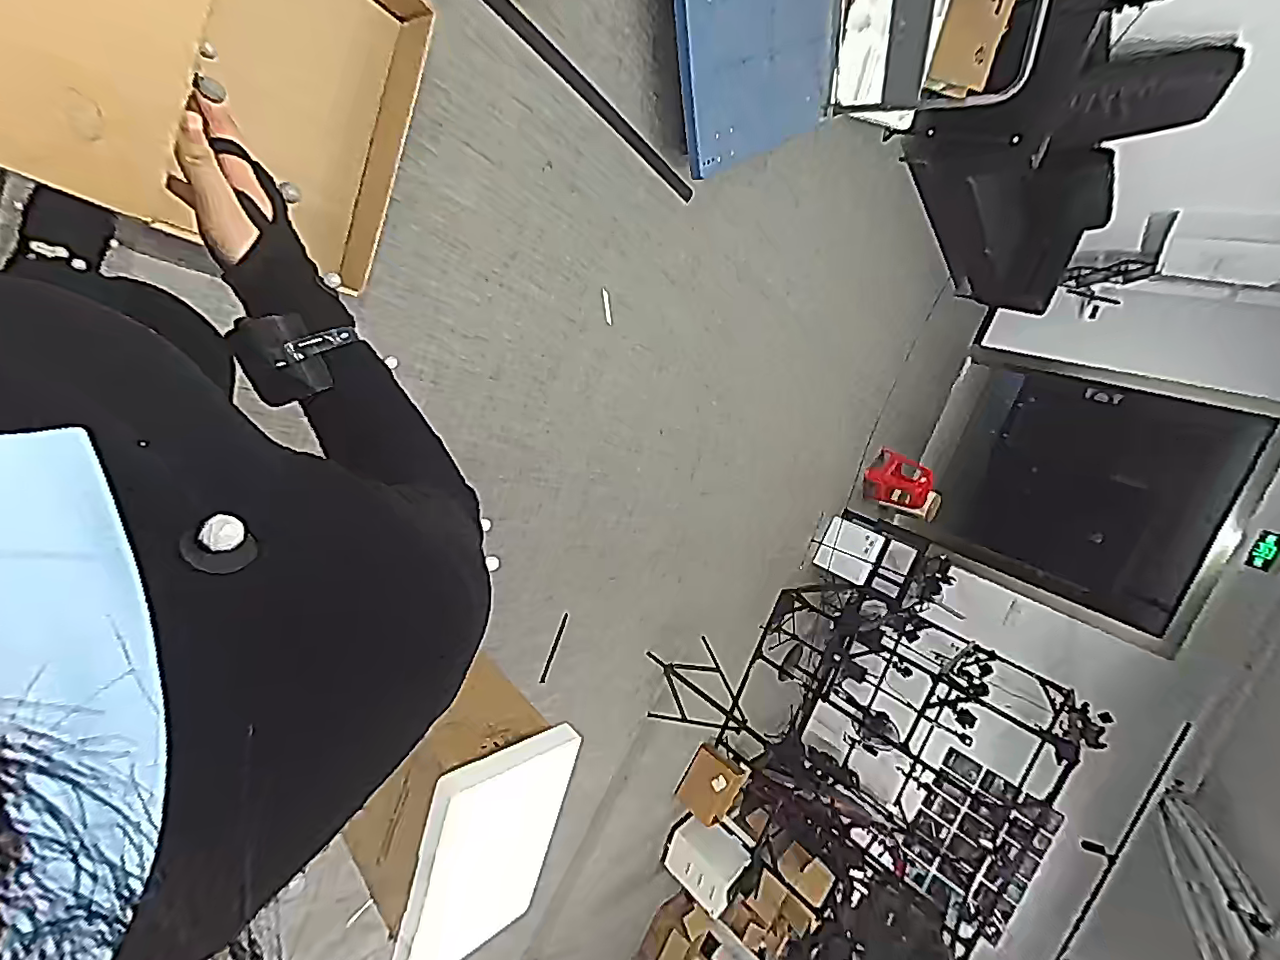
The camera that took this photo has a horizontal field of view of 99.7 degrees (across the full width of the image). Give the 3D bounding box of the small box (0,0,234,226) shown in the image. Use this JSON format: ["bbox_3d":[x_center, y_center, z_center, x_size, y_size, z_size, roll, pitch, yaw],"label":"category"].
[{"bbox_3d":[-0.310,-0.262,0.260,0.168,0.176,0.179,15,111,-48],"label":"small box"}]
